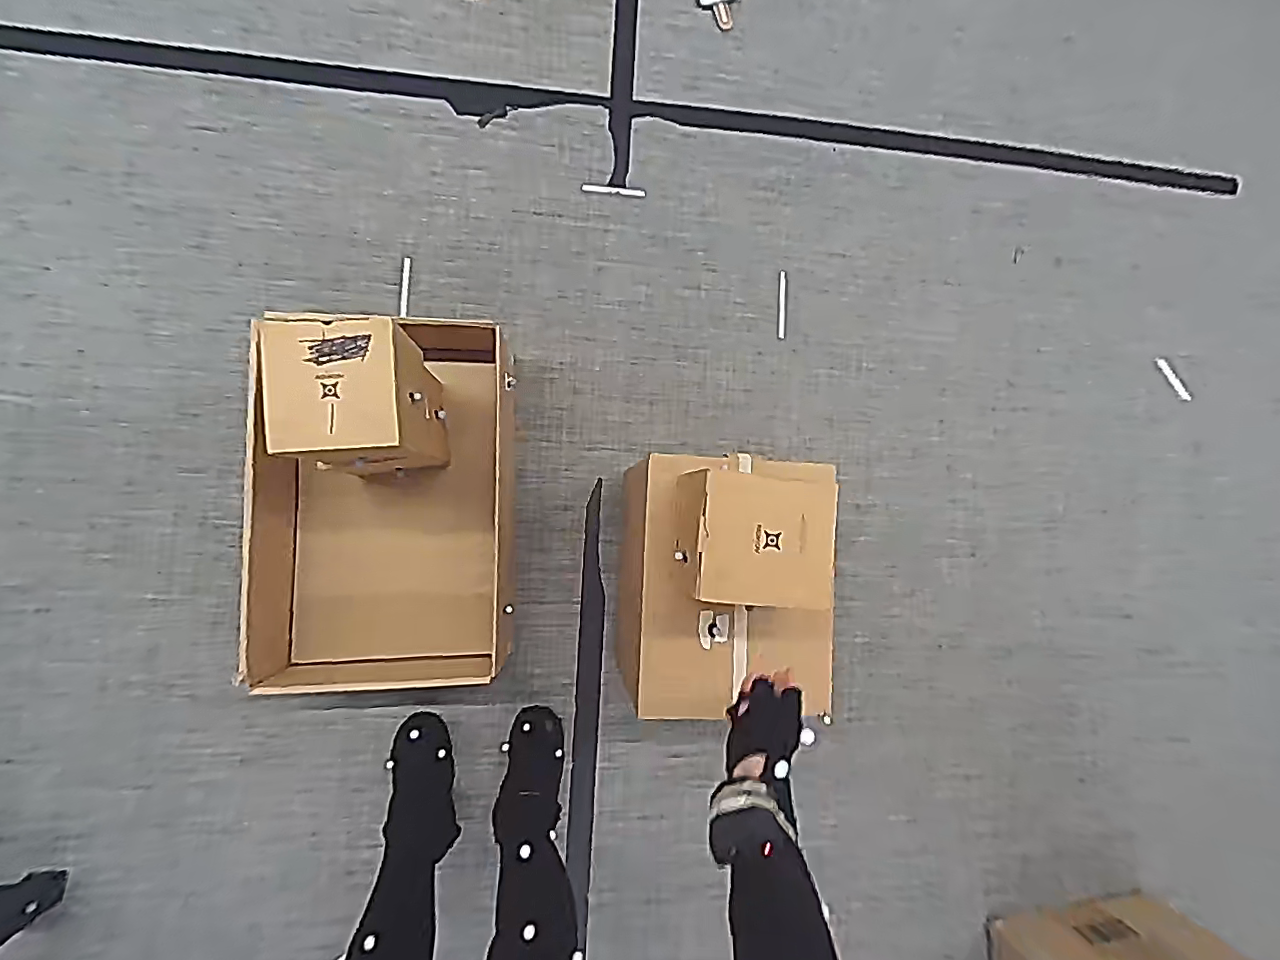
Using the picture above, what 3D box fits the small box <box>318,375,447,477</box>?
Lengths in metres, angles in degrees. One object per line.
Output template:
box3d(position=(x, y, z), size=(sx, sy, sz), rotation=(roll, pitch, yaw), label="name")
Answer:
box3d(position=(-0.447, -0.098, 0.950), size=(0.179, 0.176, 0.168), rotation=(-8, 88, -9), label="small box")

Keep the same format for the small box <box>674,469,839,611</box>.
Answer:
box3d(position=(0.150, 0.080, 0.752), size=(0.179, 0.176, 0.168), rotation=(5, 87, -8), label="small box")

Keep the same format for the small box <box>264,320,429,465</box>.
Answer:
box3d(position=(-0.415, -0.119, 0.789), size=(0.168, 0.176, 0.179), rotation=(-4, 88, -8), label="small box")

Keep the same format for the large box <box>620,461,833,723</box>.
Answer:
box3d(position=(0.135, 0.179, 0.990), size=(0.320, 0.320, 0.408), rotation=(3, 86, -8), label="large box")
